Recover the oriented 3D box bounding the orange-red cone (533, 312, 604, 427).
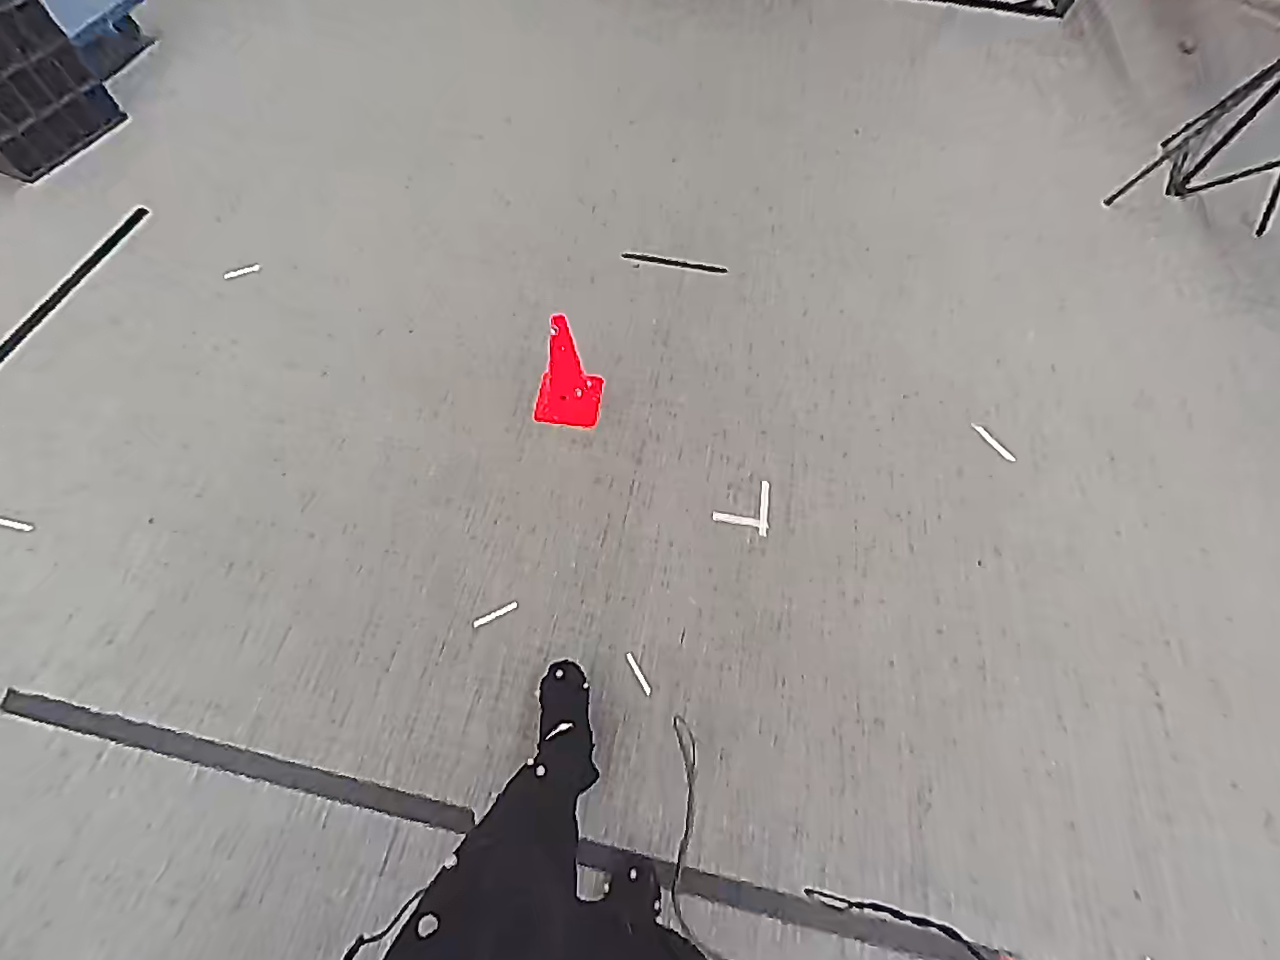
[{"bbox_3d":[-0.221,-0.337,1.547,0.199,0.360,0.198,7,62,3],"label":"orange-red cone"}]
